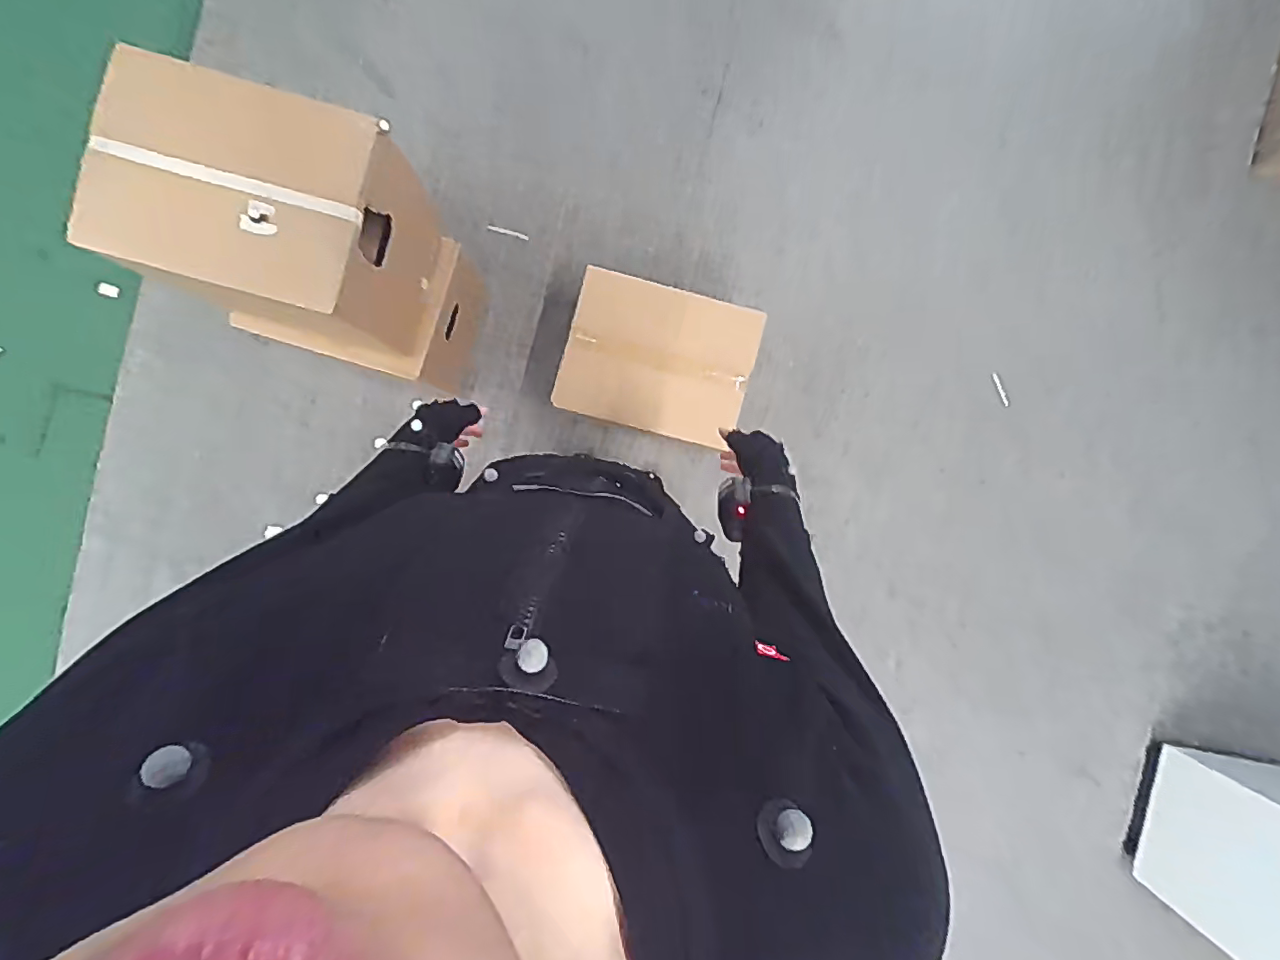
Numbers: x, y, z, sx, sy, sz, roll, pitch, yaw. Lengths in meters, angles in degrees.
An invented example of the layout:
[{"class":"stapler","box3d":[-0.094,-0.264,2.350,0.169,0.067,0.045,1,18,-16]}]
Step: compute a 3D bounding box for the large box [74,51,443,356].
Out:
[{"class":"large box","box3d":[-0.628,-0.452,0.970,0.408,0.320,0.320,15,89,-4]}]
